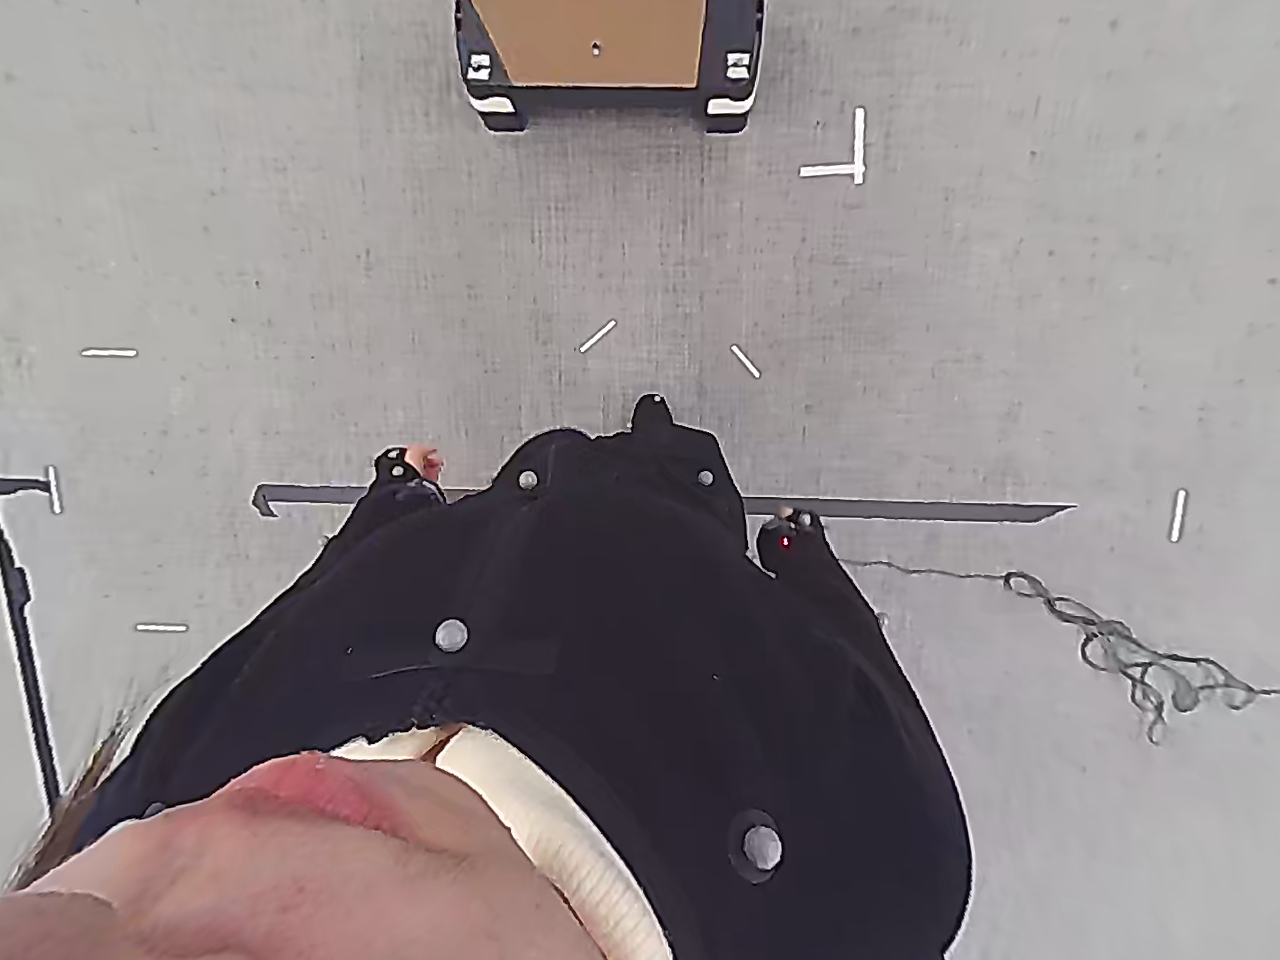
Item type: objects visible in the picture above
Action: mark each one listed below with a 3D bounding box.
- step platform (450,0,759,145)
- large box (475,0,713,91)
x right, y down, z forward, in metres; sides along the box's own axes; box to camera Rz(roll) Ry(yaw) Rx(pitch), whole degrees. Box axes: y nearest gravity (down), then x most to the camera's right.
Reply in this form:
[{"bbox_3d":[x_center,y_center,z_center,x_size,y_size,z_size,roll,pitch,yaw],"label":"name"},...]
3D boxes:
[{"bbox_3d":[-0.076,-0.989,1.235,0.684,0.204,0.286,7,99,3],"label":"step platform"},{"bbox_3d":[-0.071,-0.970,0.997,0.408,0.320,0.320,2,98,4],"label":"large box"}]
